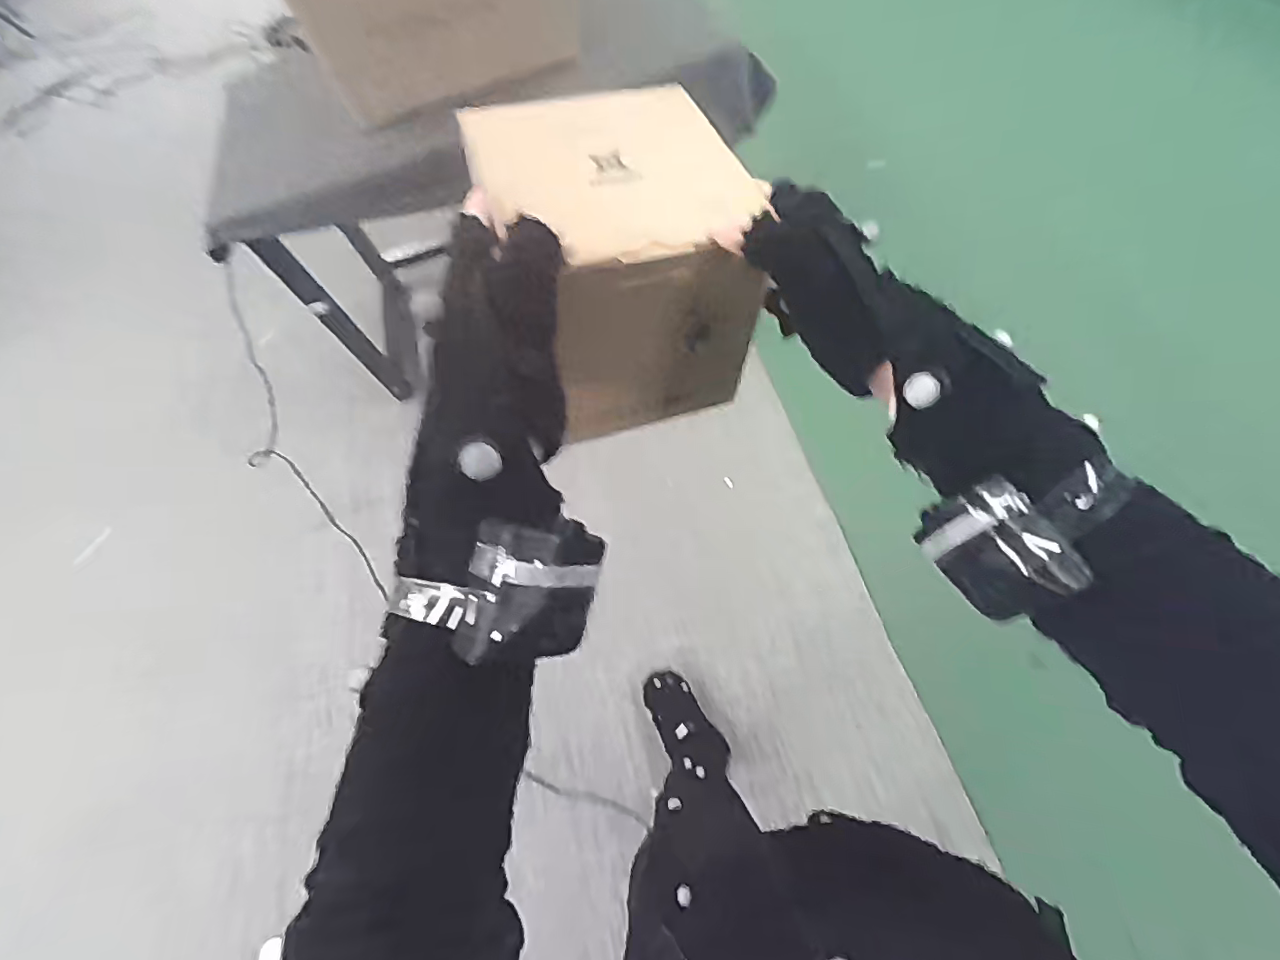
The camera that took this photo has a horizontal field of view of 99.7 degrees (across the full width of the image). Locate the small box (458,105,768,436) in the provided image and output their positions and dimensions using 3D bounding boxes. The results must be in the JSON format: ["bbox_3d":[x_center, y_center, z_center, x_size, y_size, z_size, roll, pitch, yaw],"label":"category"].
[{"bbox_3d":[-0.027,-0.152,0.420,0.168,0.176,0.179,-15,59,-14],"label":"small box"}]
